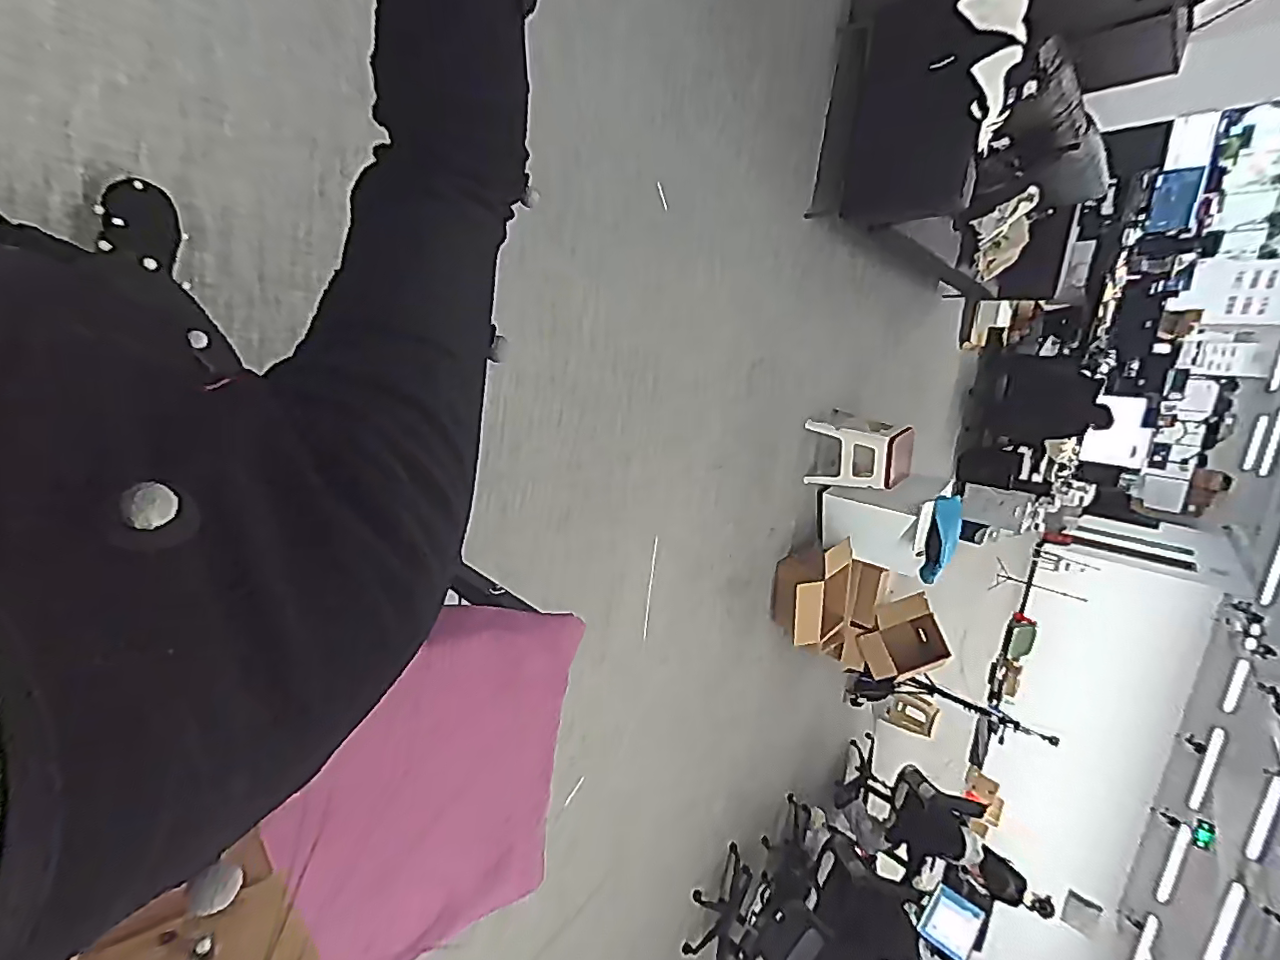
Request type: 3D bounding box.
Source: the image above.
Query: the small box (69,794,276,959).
[{"bbox_3d":[-0.540,0.515,0.627,0.168,0.176,0.179,4,99,-47],"label":"small box"}]

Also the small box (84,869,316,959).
[{"bbox_3d":[-0.419,0.536,0.517,0.168,0.176,0.179,2,101,-47],"label":"small box"}]
